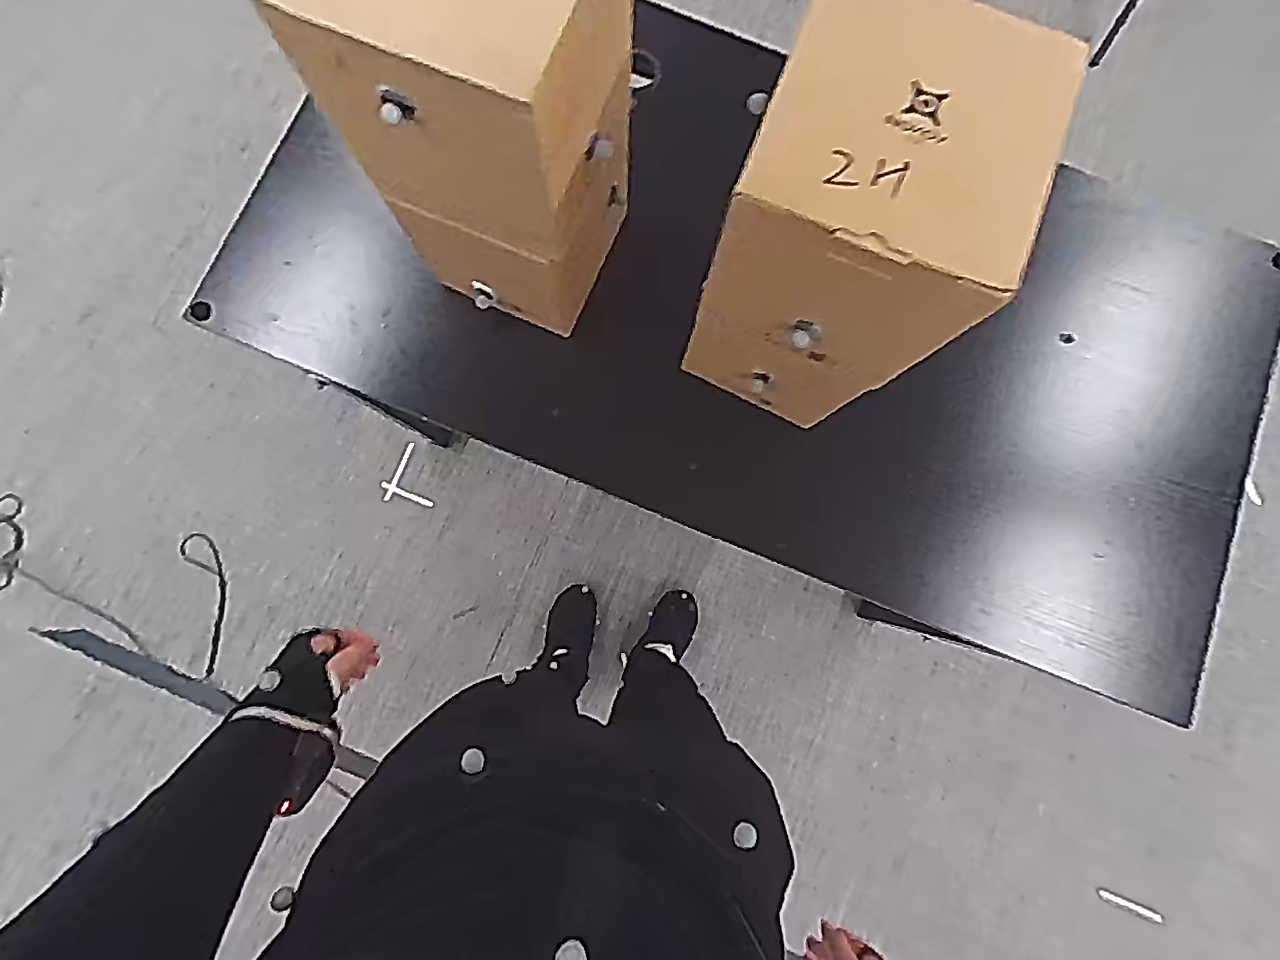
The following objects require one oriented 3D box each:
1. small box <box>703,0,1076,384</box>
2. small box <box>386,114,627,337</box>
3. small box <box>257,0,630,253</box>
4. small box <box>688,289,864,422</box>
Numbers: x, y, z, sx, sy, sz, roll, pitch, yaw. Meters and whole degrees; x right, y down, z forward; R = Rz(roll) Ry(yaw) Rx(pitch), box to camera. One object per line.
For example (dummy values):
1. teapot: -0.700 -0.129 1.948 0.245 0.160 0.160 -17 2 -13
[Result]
1. small box: 0.156 -0.197 0.395 0.168 0.176 0.179 22 82 2
2. small box: -0.122 -0.282 0.564 0.168 0.176 0.179 22 83 2
3. small box: -0.117 -0.303 0.401 0.179 0.176 0.168 21 82 1
4. small box: 0.159 -0.180 0.560 0.168 0.176 0.179 26 82 2
